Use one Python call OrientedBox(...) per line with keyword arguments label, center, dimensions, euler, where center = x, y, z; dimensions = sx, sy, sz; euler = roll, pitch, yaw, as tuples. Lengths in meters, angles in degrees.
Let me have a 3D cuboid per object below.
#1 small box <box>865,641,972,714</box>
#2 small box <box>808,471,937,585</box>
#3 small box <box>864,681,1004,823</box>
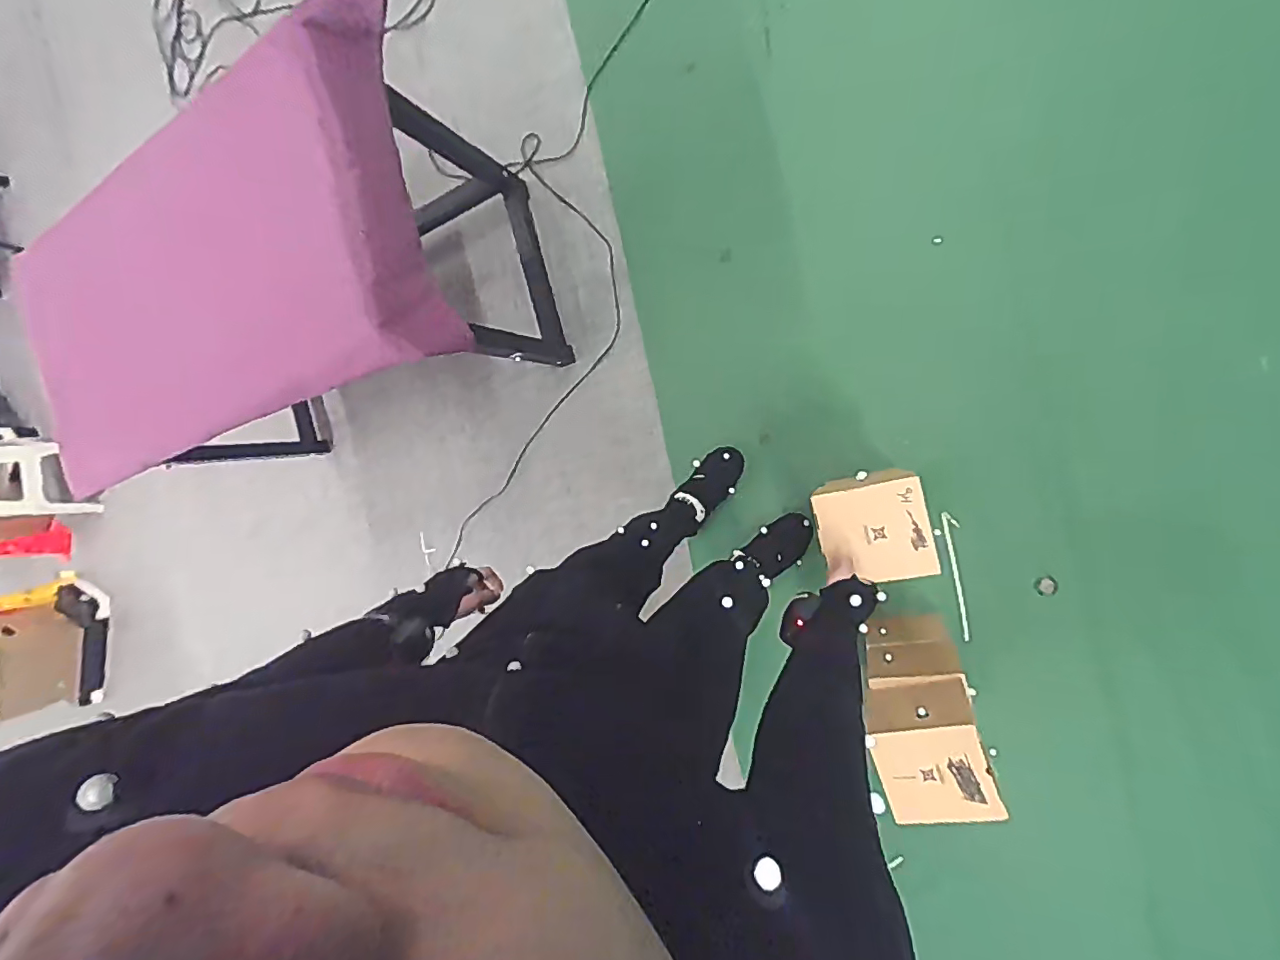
OrientedBox(label="small box", center=(0.581, 0.450, 1.126), dimensions=(0.179, 0.176, 0.168), euler=(-14, 92, 24))
OrientedBox(label="small box", center=(0.417, 0.082, 0.975), dimensions=(0.179, 0.176, 0.168), euler=(-13, 90, 23))
OrientedBox(label="small box", center=(0.520, 0.483, 0.977), dimensions=(0.179, 0.176, 0.168), euler=(-20, 89, 26))
